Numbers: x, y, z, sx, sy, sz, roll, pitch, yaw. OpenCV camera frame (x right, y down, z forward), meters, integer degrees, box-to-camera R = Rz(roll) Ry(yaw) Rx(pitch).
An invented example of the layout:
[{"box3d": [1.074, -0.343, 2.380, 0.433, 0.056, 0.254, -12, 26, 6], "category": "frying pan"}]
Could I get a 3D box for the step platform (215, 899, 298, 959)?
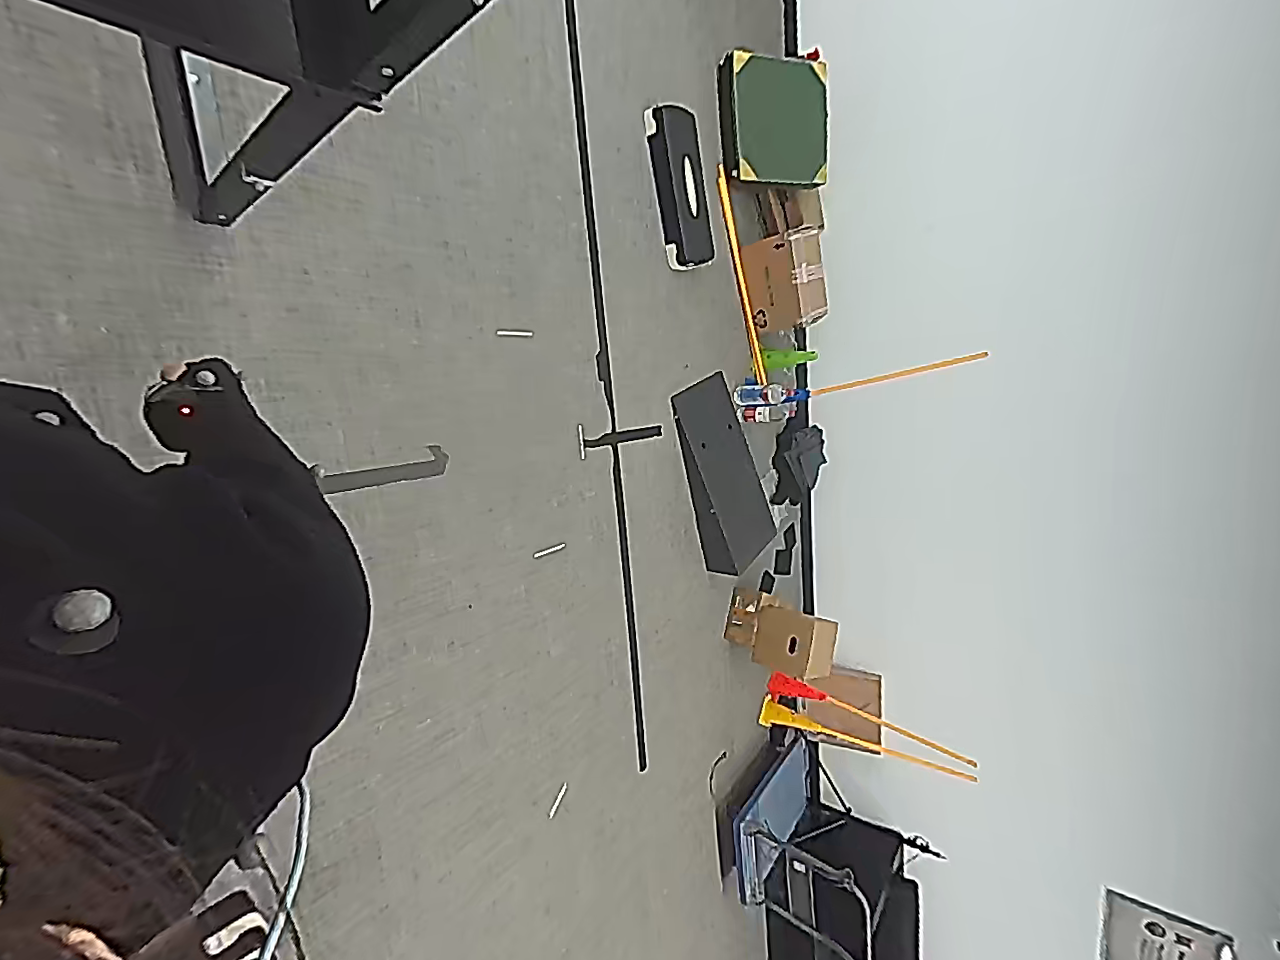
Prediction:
[{"box3d": [-1.058, 1.193, 1.053, 0.684, 0.204, 0.286, -7, 97, -51], "category": "step platform"}]
